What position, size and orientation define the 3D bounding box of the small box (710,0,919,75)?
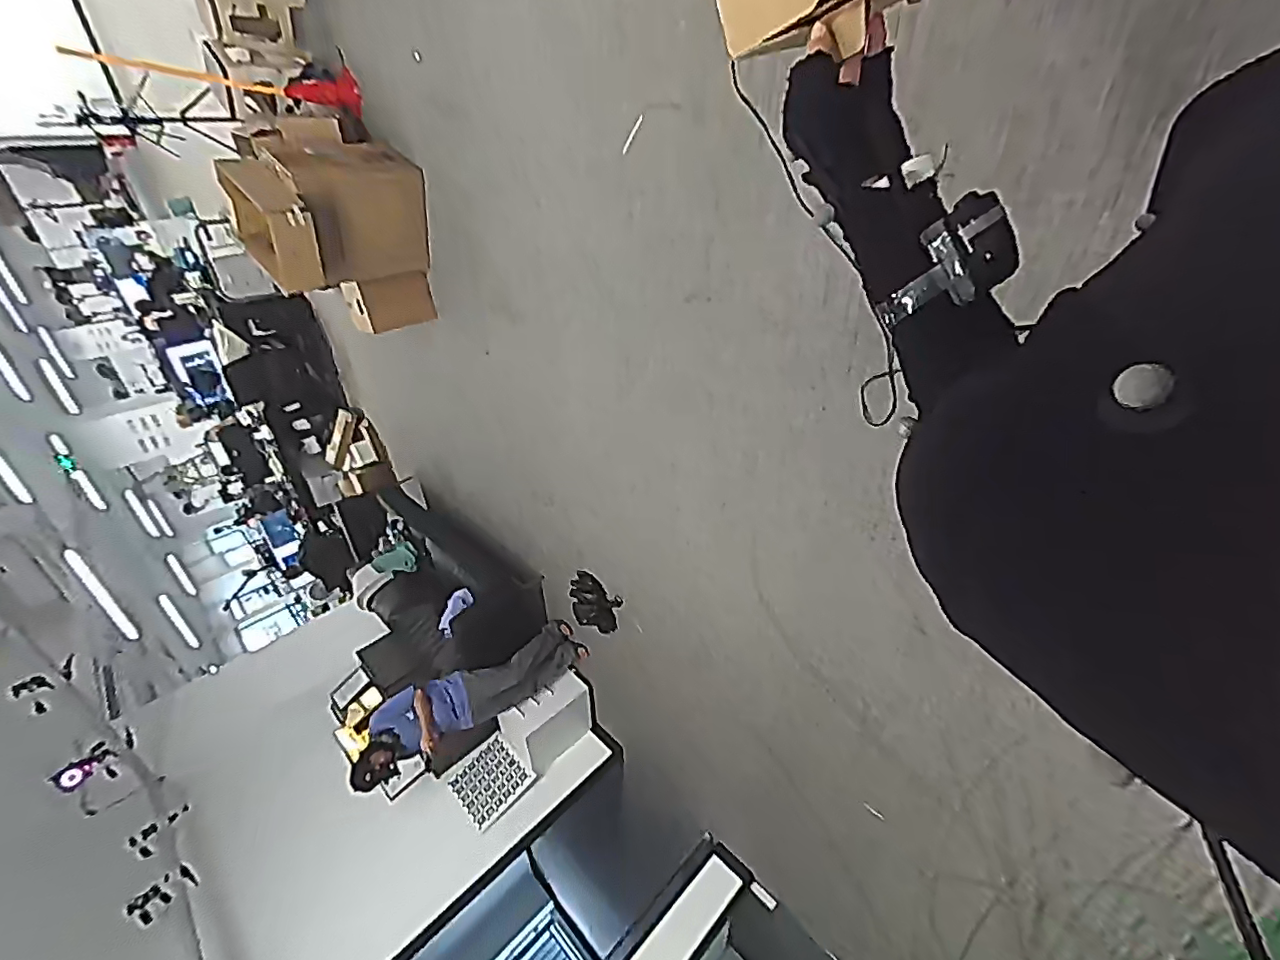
[{"bbox_3d":[0.152,-0.443,0.399,0.168,0.176,0.179,5,126,45],"label":"small box"}]
